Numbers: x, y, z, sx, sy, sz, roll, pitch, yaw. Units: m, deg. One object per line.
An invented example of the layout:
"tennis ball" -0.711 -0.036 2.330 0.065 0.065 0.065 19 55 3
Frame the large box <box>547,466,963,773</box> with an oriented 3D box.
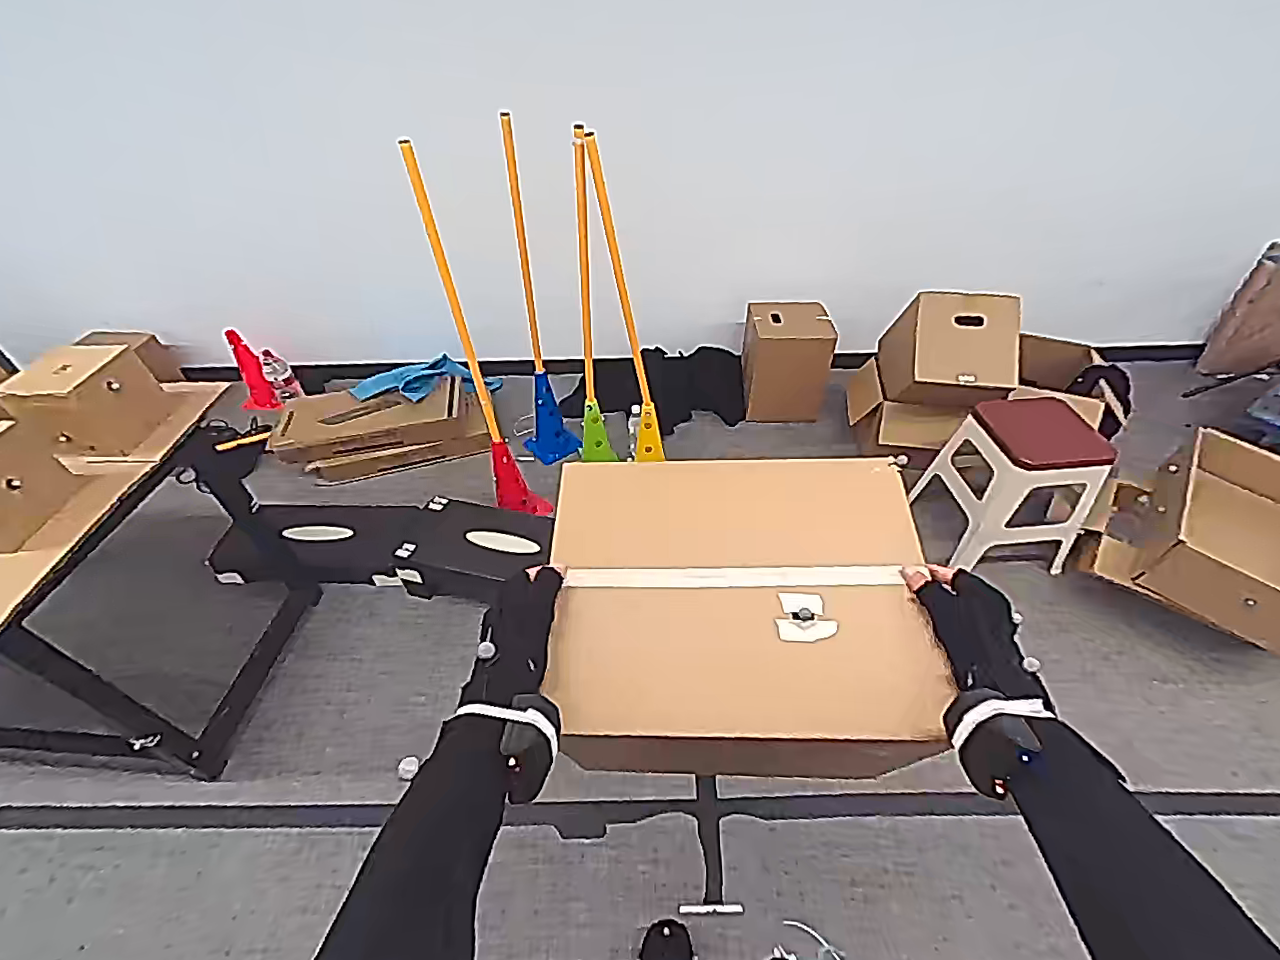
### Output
"large box" 0.115 0.197 0.719 0.408 0.320 0.320 -1 56 4
